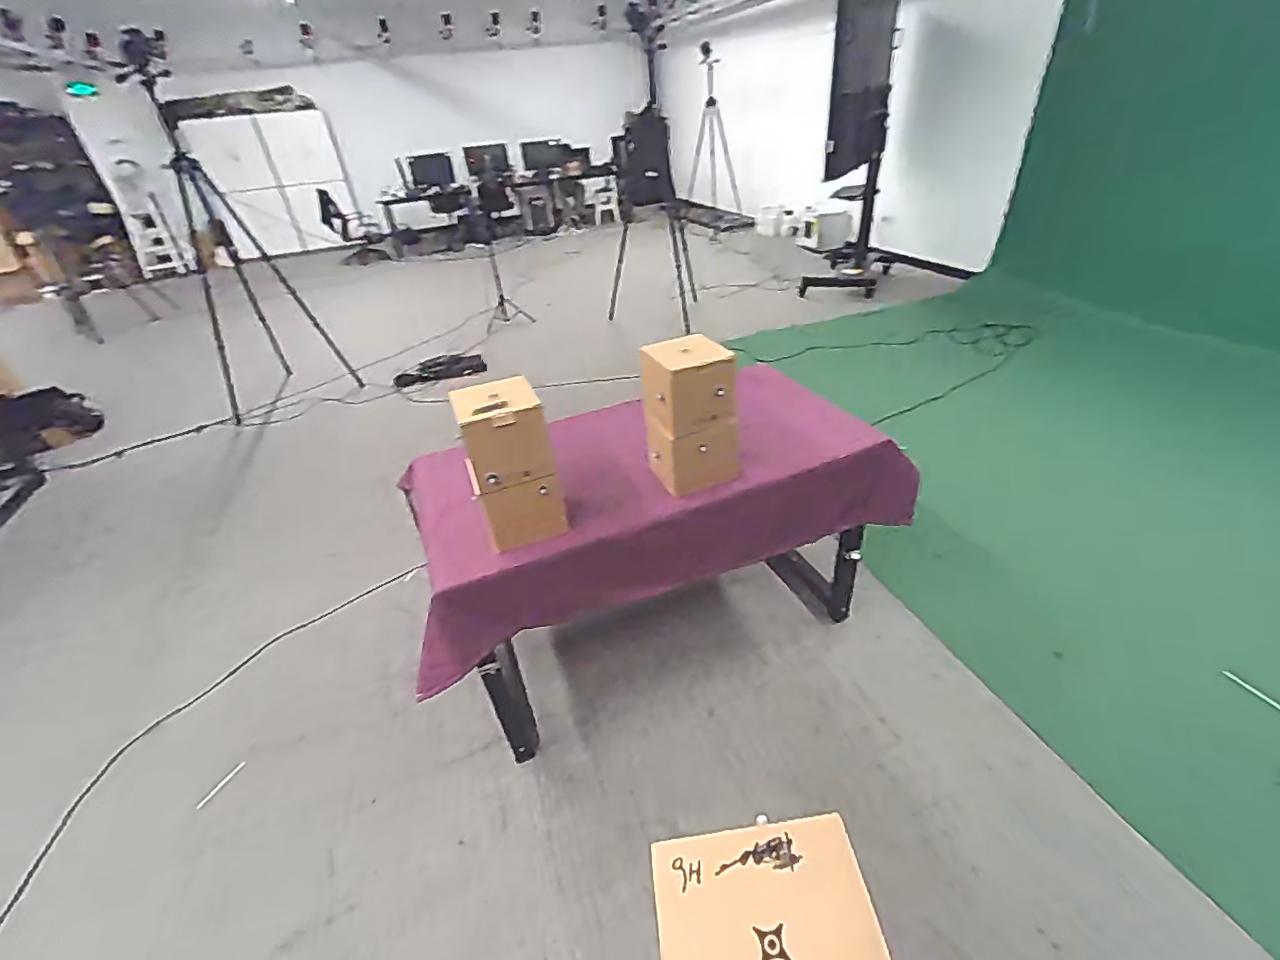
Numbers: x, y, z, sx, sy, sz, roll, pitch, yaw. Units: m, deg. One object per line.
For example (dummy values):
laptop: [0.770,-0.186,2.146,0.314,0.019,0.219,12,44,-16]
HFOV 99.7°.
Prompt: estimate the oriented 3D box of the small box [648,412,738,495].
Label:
small box: [0.134,-0.085,1.361,0.179,0.176,0.168,-16,36,-14]

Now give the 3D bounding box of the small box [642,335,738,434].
small box: [0.118,-0.222,1.273,0.168,0.176,0.179,-17,35,-16]

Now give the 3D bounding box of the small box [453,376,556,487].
small box: [-0.288,-0.100,1.158,0.168,0.176,0.179,-16,34,-16]

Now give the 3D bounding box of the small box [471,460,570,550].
small box: [-0.275,0.037,1.248,0.179,0.176,0.168,-16,36,-16]

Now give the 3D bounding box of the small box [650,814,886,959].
small box: [0.107,0.412,0.447,0.168,0.176,0.179,-10,40,0]
